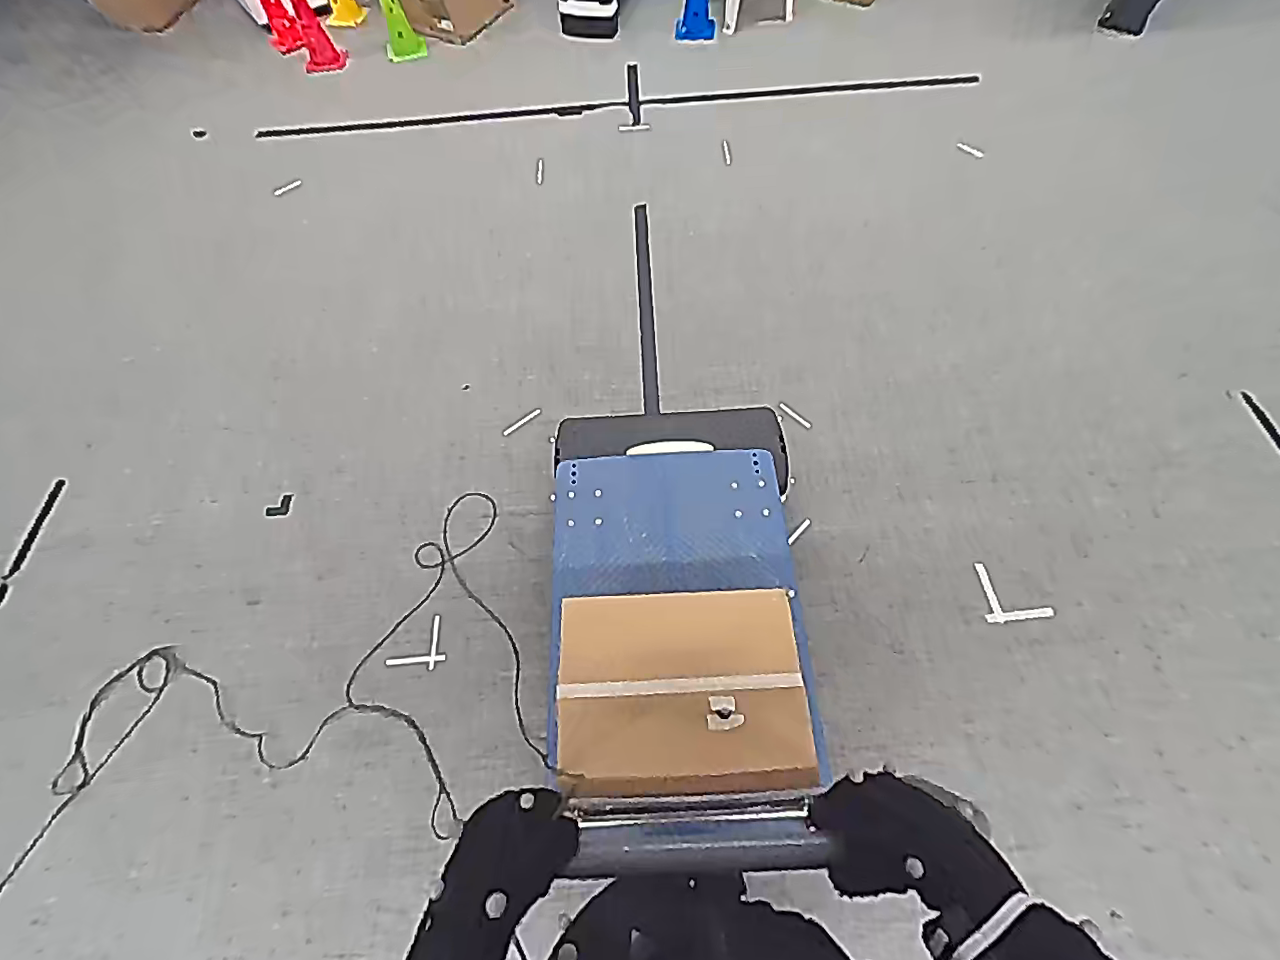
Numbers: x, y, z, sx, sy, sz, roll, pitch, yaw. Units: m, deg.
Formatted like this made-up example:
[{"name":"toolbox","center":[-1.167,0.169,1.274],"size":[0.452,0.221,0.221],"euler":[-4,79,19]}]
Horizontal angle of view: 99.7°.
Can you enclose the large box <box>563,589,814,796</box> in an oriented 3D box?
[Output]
[{"name":"large box","center":[0.070,0.417,1.044],"size":[0.408,0.320,0.320],"euler":[-3,62,-1]}]
